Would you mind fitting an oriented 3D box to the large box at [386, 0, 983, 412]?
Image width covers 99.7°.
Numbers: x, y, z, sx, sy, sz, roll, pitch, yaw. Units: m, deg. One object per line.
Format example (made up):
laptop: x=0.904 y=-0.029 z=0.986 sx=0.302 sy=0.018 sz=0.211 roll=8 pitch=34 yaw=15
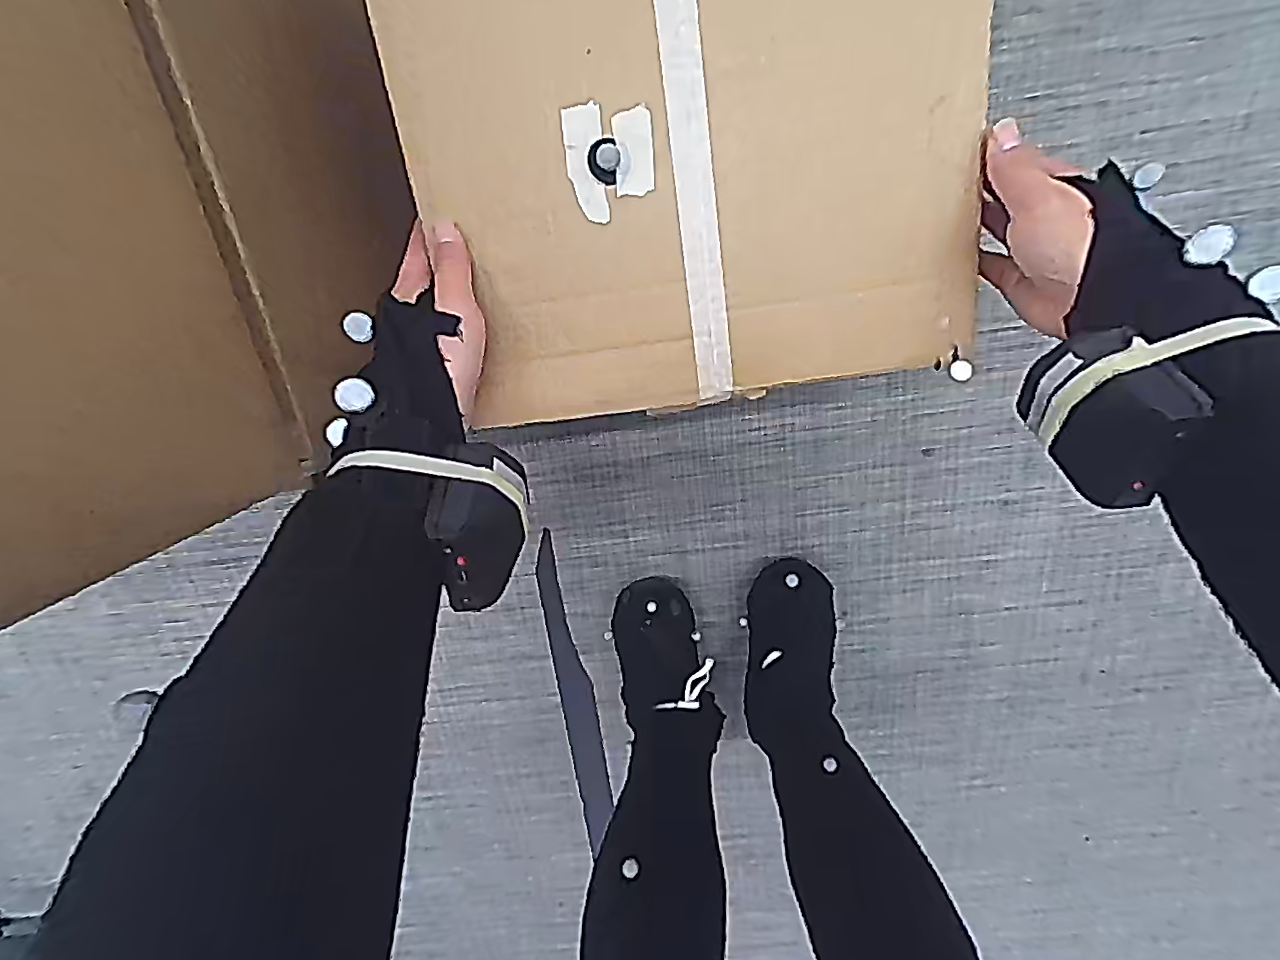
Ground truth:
large box: x=0.024 y=-0.300 z=0.420 sx=0.320 sy=0.320 sz=0.408 roll=-8 pitch=109 yaw=5
